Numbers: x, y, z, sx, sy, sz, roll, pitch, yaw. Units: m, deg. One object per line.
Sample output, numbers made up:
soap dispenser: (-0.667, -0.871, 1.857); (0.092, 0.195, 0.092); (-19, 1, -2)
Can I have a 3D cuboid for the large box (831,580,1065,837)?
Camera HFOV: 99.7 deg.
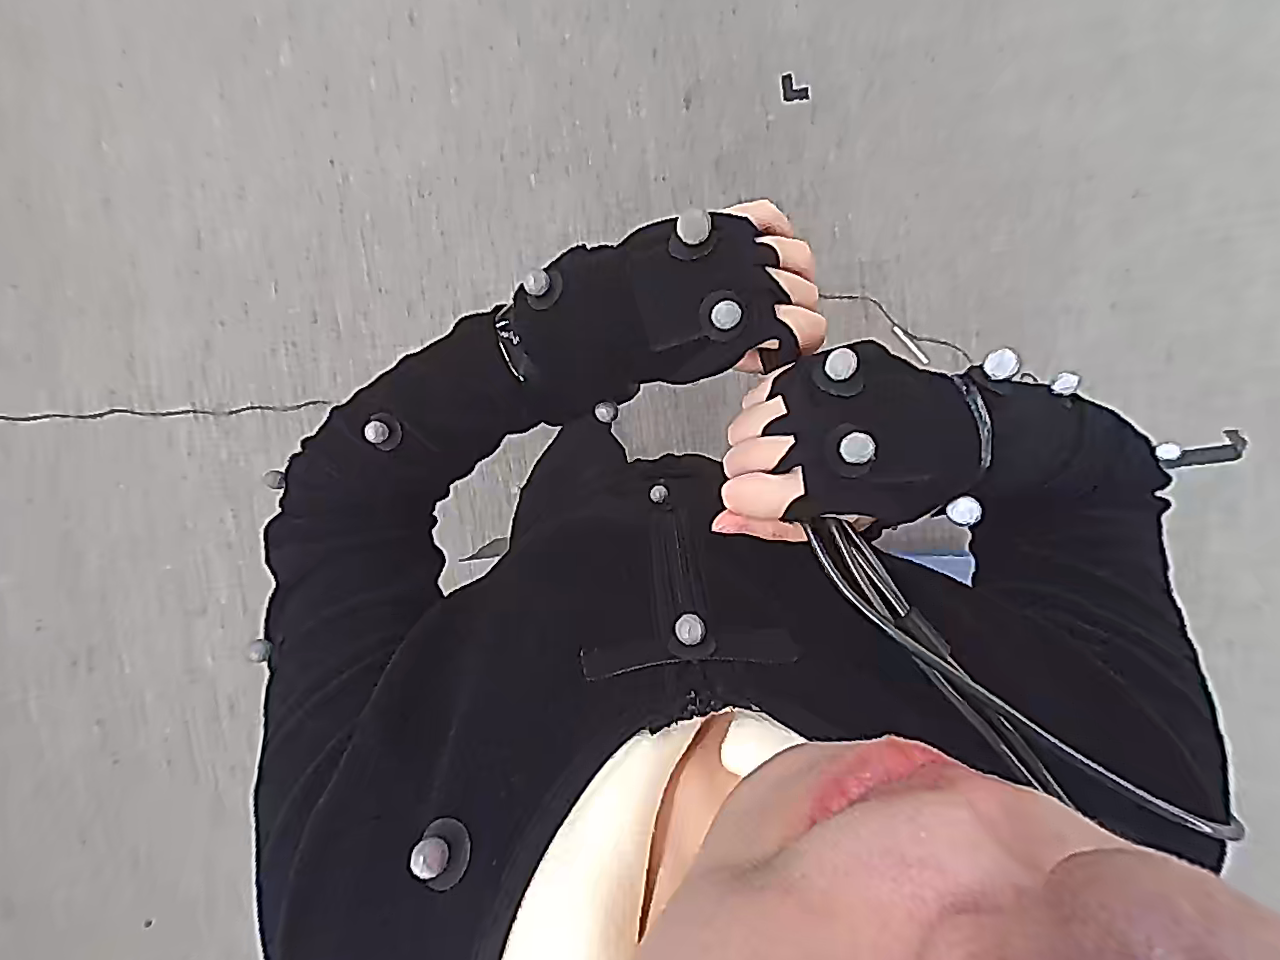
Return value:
large box: (0.672, 0.488, 1.231); (0.320, 0.320, 0.408); (-12, 95, -1)
